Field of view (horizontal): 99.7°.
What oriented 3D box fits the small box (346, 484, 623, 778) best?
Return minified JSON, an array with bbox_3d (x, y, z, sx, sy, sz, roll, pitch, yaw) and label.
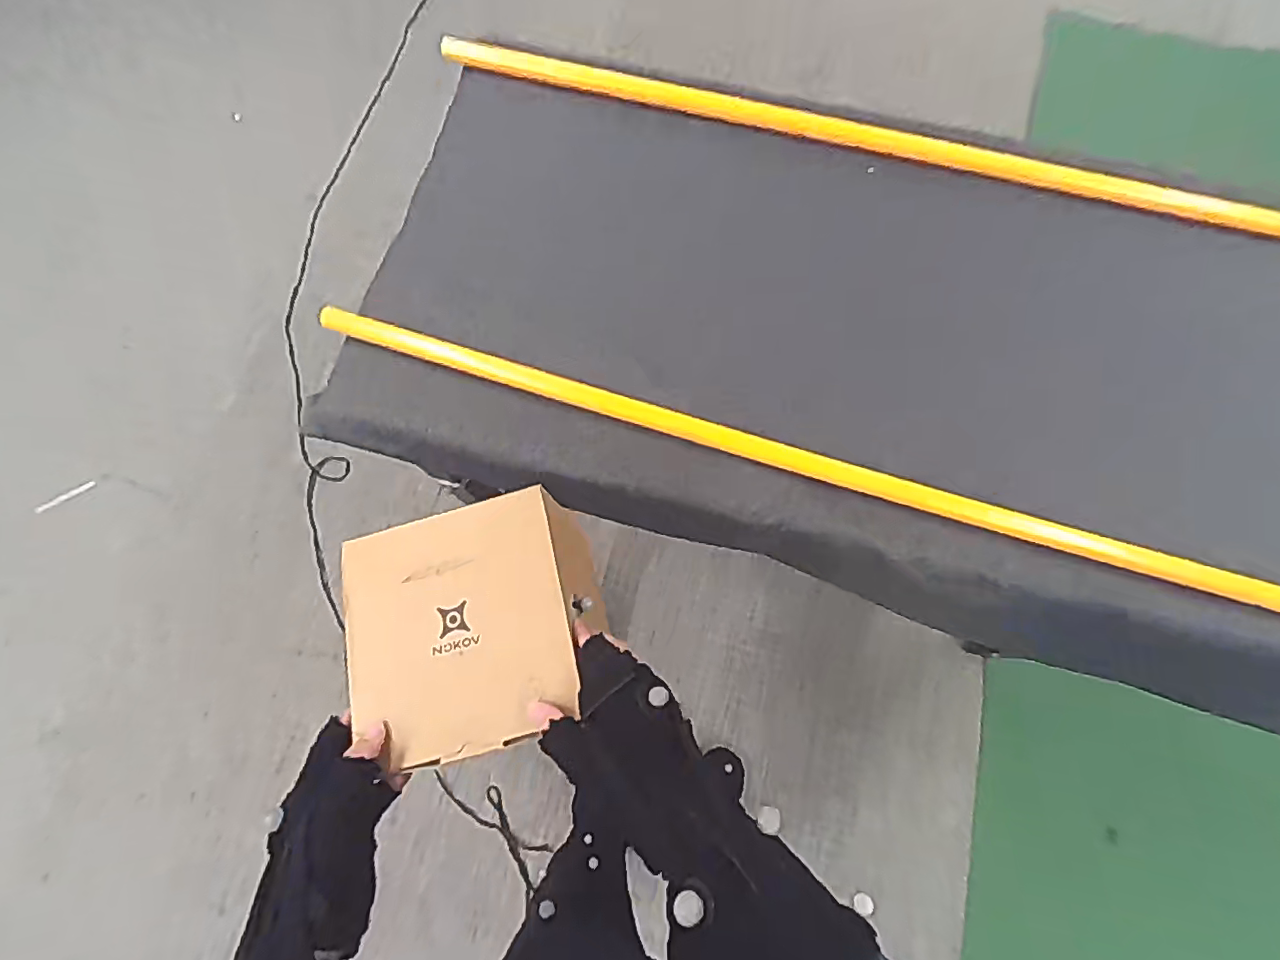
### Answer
[{"bbox_3d":[-0.120,0.128,0.464,0.168,0.176,0.179,-16,68,2],"label":"small box"}]
